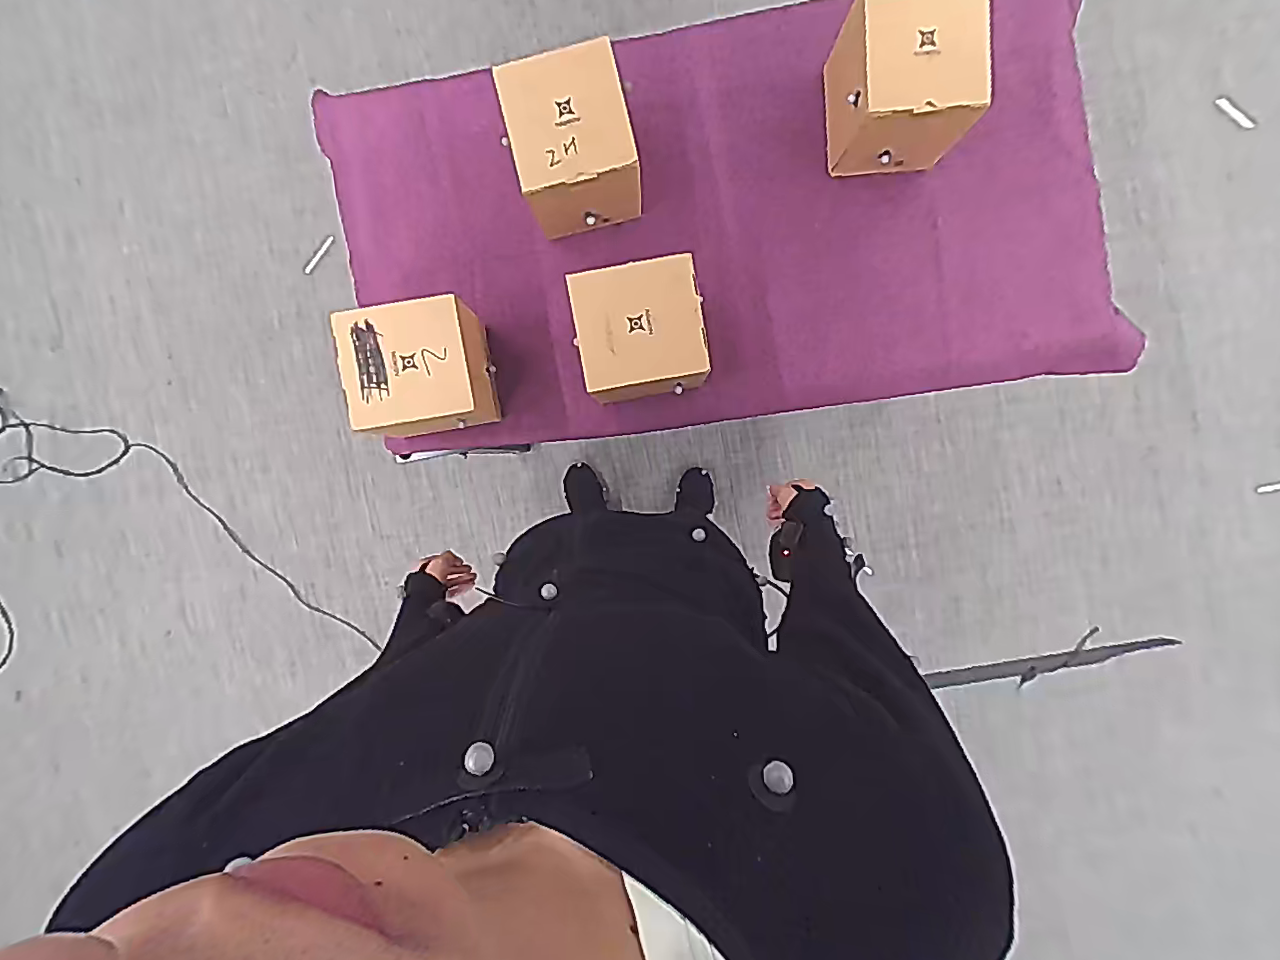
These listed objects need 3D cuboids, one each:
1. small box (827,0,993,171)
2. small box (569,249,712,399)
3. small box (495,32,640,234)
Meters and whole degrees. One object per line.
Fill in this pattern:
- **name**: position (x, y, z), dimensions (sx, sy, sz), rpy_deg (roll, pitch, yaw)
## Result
- **small box**: position (0.382, -0.587, 0.791), dimensions (0.168, 0.176, 0.179), rpy_deg (-4, 94, 2)
- **small box**: position (0.000, -0.223, 0.812), dimensions (0.179, 0.176, 0.168), rpy_deg (-10, 92, 1)
- **small box**: position (-0.098, -0.500, 0.805), dimensions (0.168, 0.176, 0.179), rpy_deg (-13, 92, 2)
